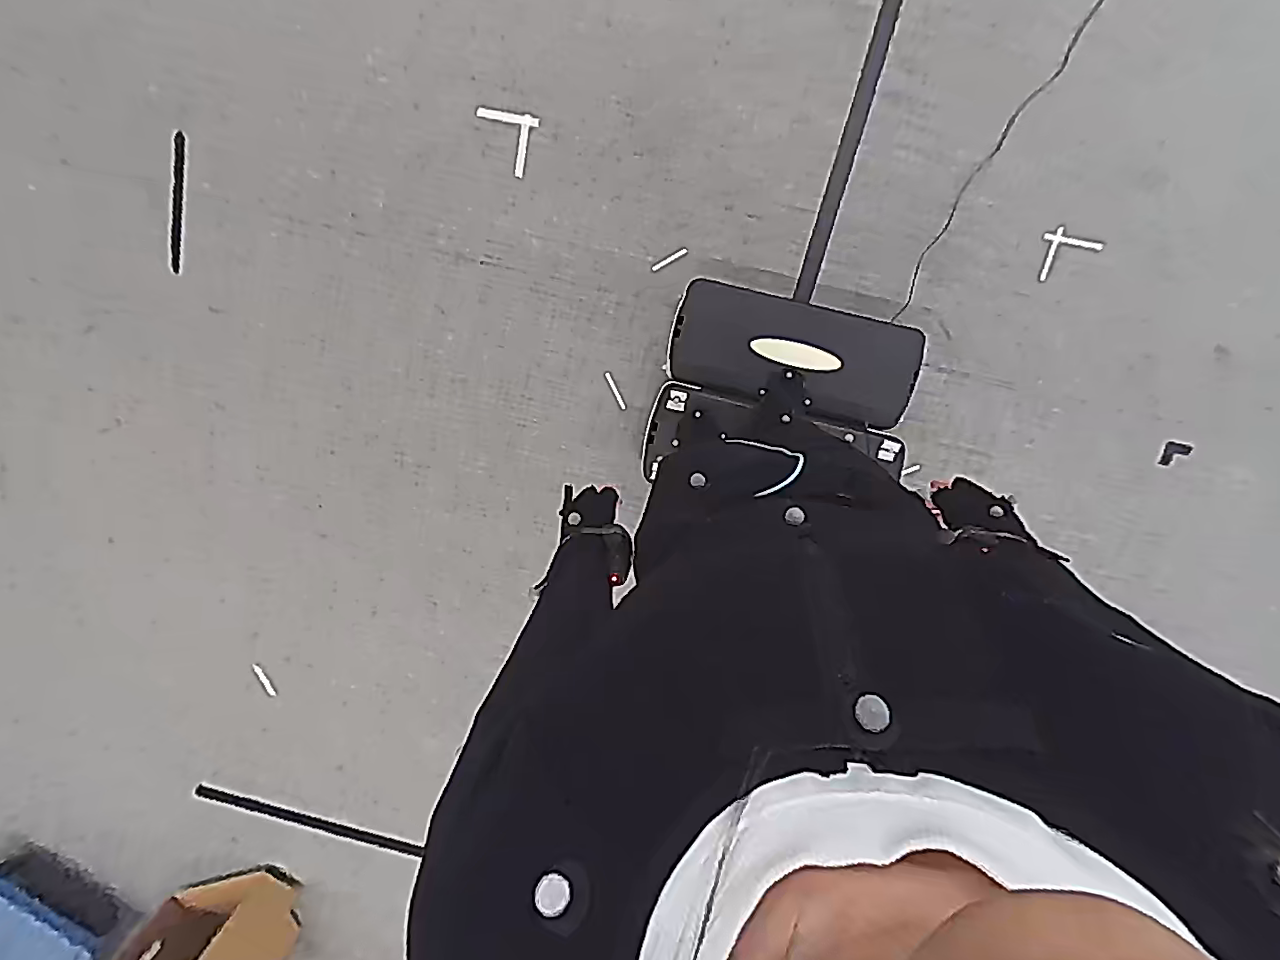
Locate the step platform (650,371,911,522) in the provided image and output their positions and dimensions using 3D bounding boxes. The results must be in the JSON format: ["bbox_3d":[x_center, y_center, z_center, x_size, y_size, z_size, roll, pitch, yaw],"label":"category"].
[{"bbox_3d":[0.373,-0.097,1.505,0.684,0.204,0.286,13,101,3],"label":"step platform"}]
